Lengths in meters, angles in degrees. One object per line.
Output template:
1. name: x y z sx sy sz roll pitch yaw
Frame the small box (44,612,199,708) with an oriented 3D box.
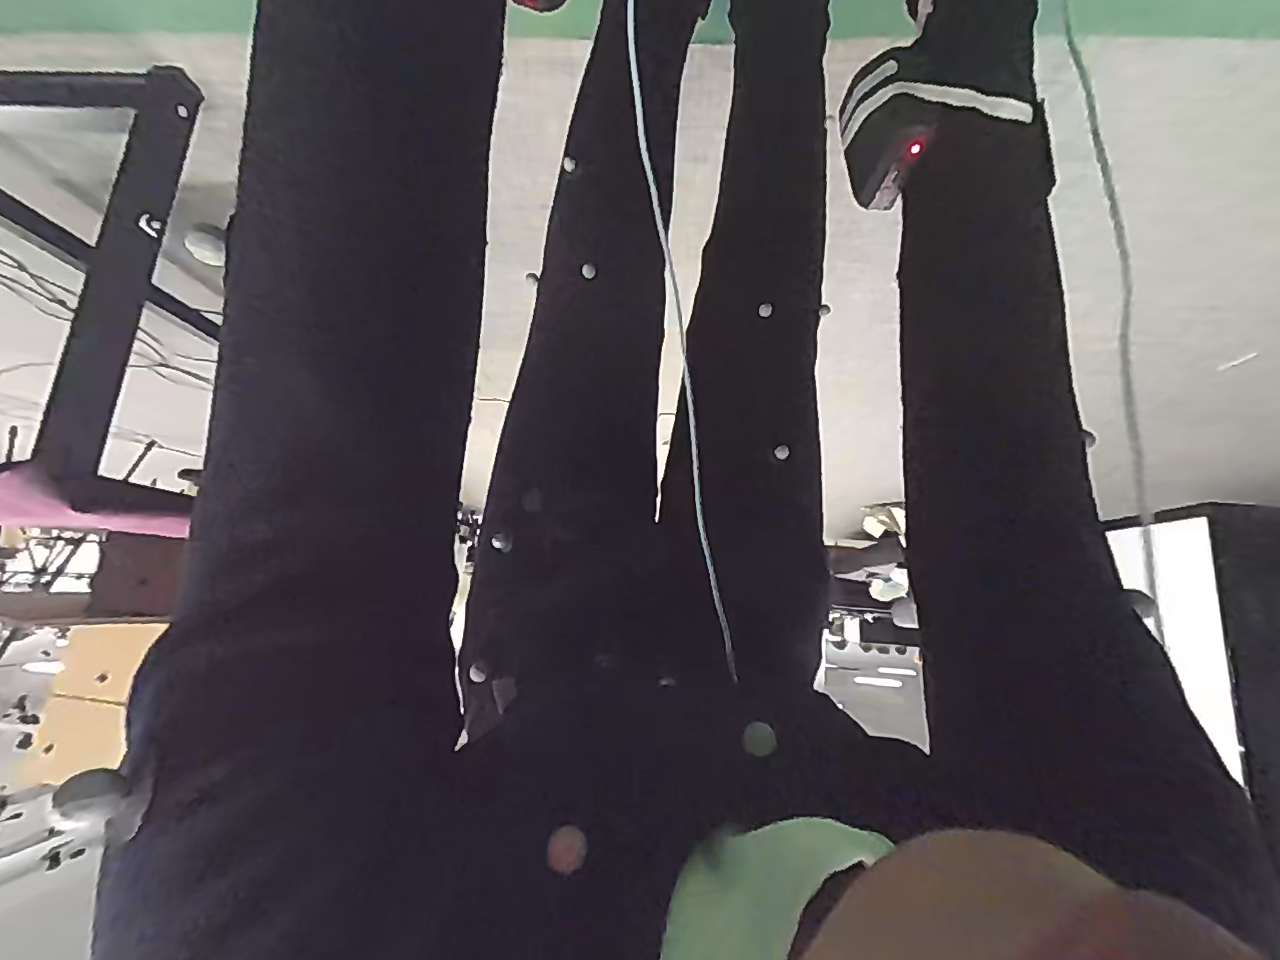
1. small box: -1.112 0.384 1.179 0.179 0.176 0.168 4 168 4
